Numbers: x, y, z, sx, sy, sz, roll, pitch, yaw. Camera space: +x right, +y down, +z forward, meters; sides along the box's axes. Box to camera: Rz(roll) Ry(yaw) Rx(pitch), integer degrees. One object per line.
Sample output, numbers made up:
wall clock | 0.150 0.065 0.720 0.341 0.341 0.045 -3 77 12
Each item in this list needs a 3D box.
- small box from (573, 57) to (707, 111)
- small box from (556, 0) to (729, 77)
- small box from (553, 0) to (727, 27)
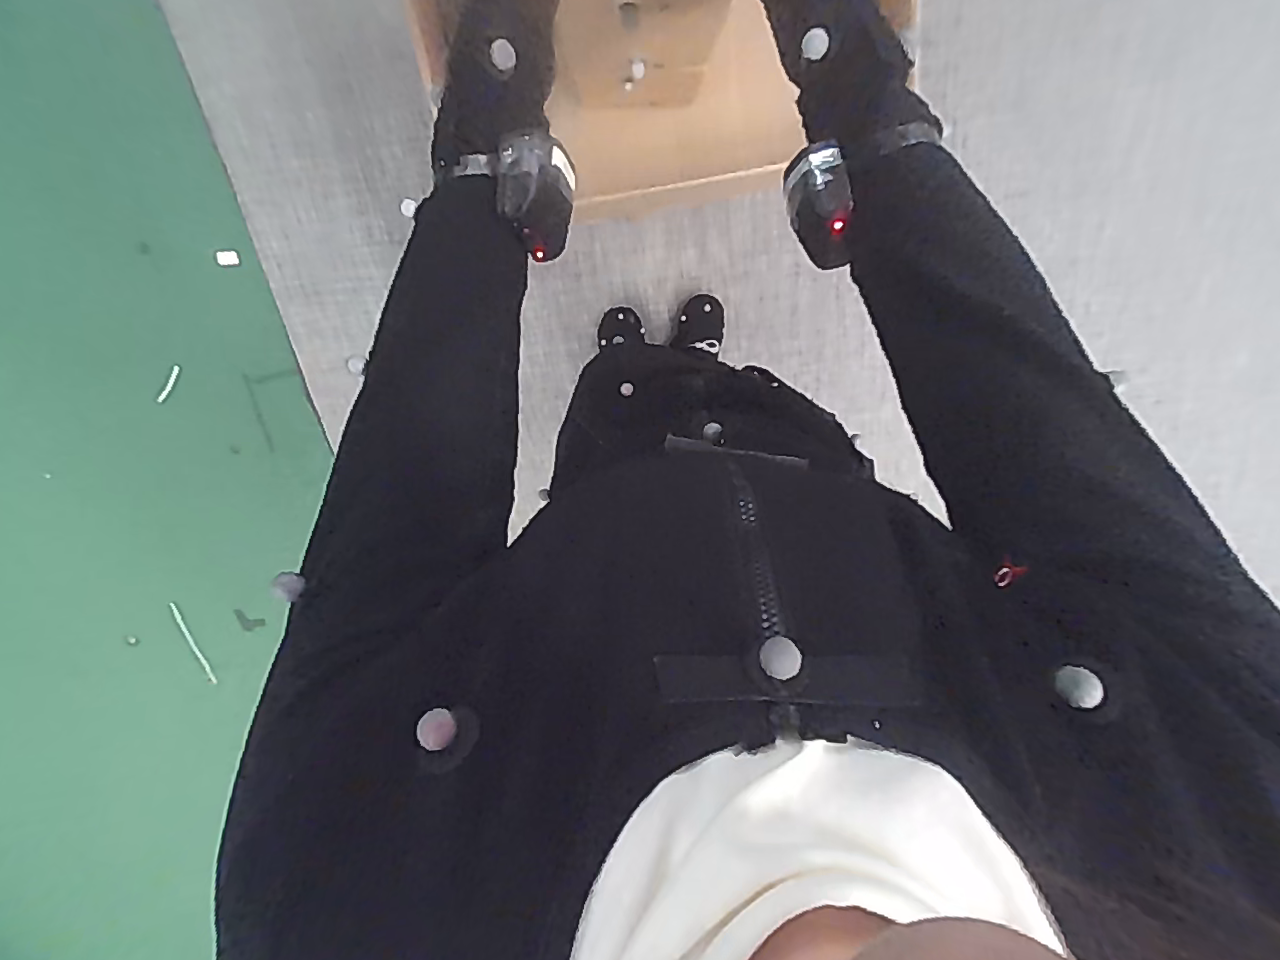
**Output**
small box | -0.004 -0.606 0.701 0.168 0.176 0.179 -2 111 0
small box | -0.005 -0.544 0.549 0.168 0.176 0.179 -4 112 0
small box | -0.003 -0.481 0.401 0.168 0.176 0.179 -4 113 1
